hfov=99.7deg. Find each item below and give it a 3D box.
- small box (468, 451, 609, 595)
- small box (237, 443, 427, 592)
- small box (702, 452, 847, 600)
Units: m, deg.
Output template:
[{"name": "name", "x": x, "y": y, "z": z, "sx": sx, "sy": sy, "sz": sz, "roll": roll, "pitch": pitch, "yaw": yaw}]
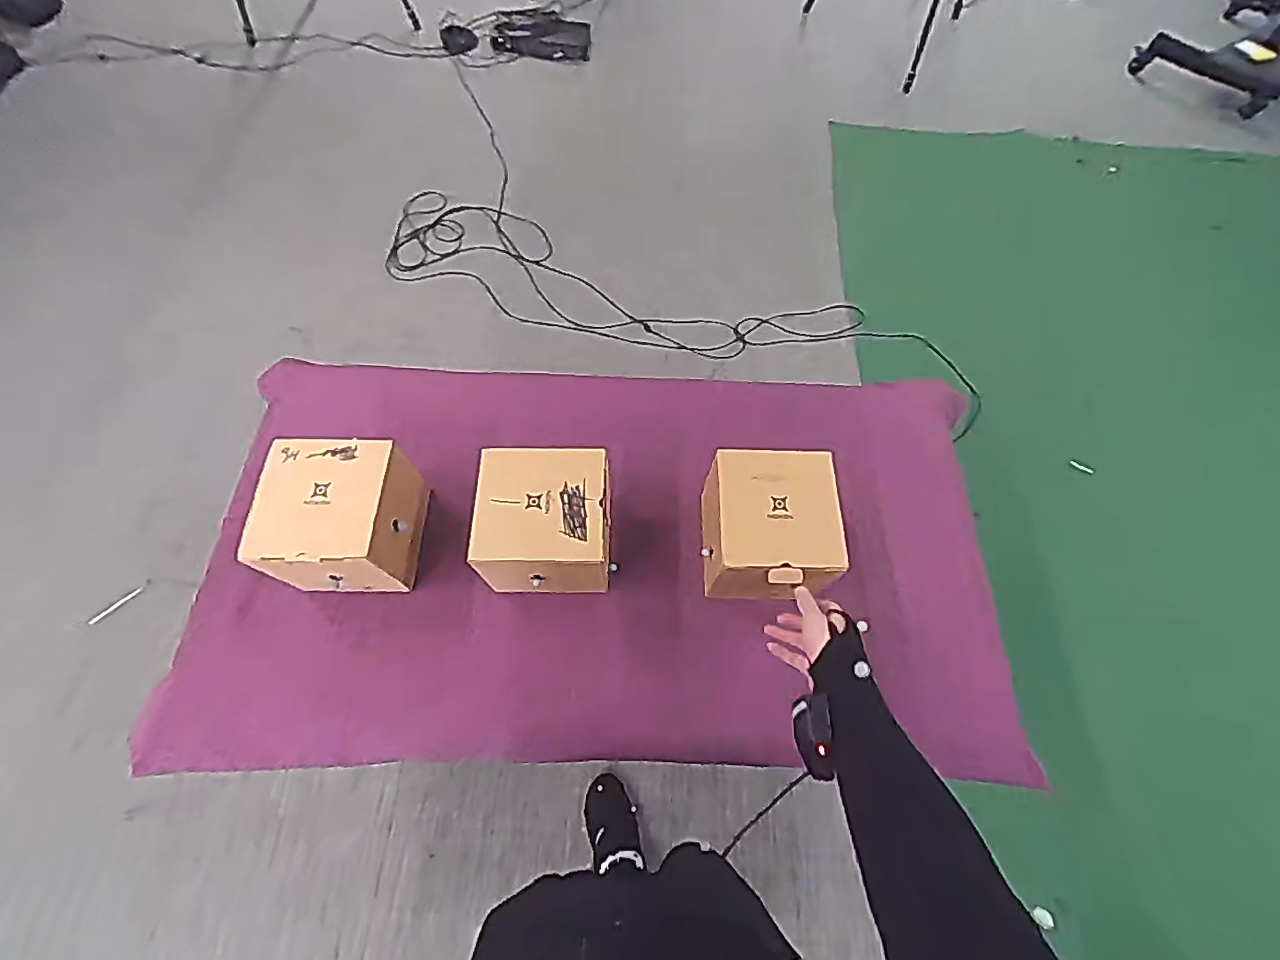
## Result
[{"name": "small box", "x": -0.134, "y": 0.069, "z": 0.792, "sx": 0.179, "sy": 0.176, "sz": 0.168, "roll": 0, "pitch": 65, "yaw": -1}, {"name": "small box", "x": -0.427, "y": 0.062, "z": 0.785, "sx": 0.168, "sy": 0.176, "sz": 0.179, "roll": 1, "pitch": 65, "yaw": -2}, {"name": "small box", "x": 0.185, "y": 0.074, "z": 0.798, "sx": 0.168, "sy": 0.176, "sz": 0.179, "roll": 2, "pitch": 64, "yaw": -1}]
